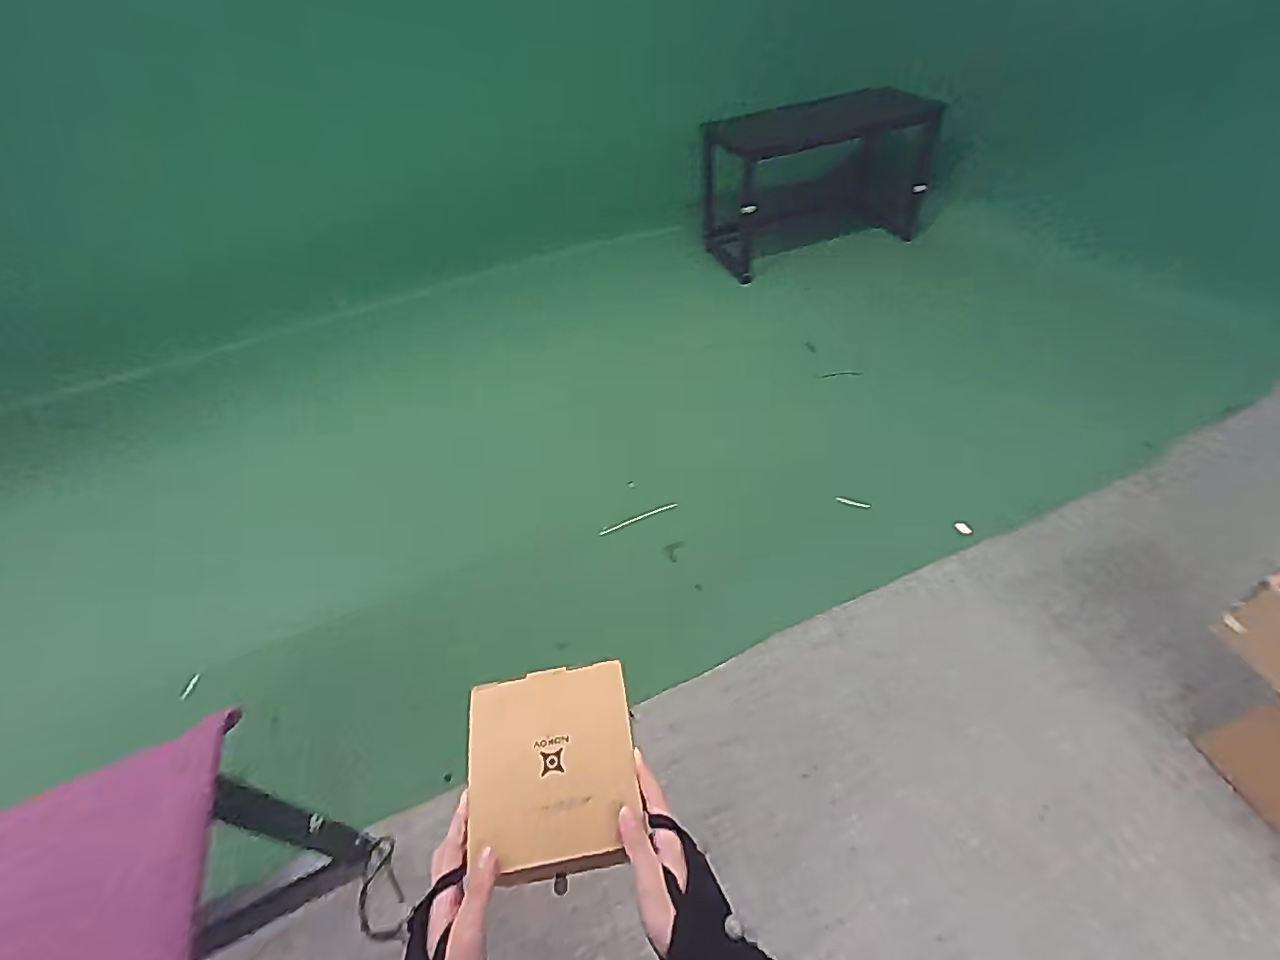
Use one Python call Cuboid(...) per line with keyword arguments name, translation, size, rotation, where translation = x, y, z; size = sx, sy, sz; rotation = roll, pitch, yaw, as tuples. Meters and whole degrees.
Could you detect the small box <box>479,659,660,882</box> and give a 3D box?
Cuboid(name="small box", translation=(-0.072, 0.324, 0.601), size=(0.168, 0.176, 0.179), rotation=(-8, 52, -3))
